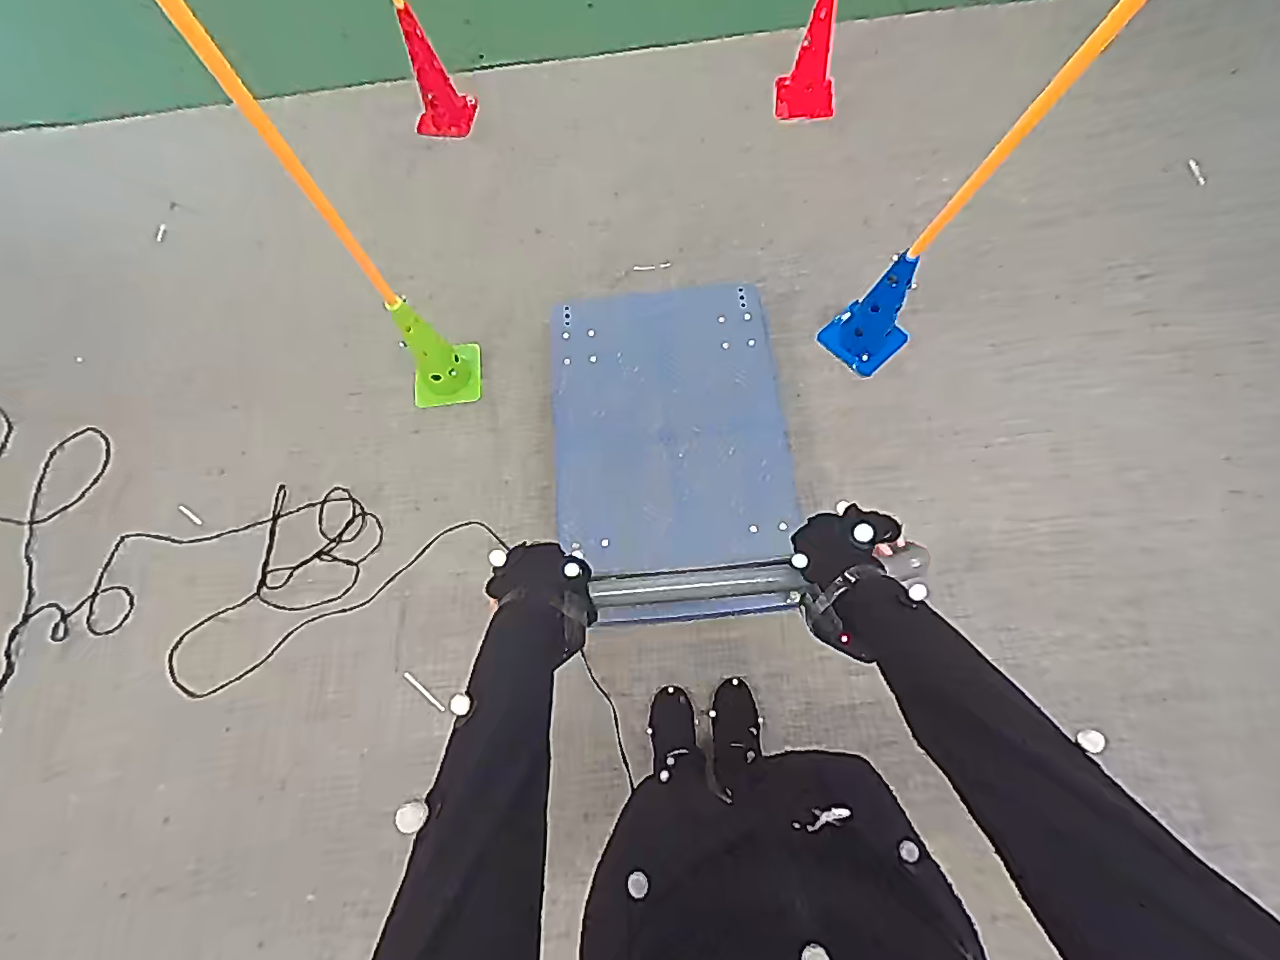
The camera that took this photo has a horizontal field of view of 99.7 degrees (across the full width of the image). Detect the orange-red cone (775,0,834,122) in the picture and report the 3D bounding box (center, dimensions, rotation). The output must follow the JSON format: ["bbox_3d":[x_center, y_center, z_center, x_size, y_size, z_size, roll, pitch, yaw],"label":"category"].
[{"bbox_3d":[0.569,-1.391,1.750,0.198,0.360,0.199,4,73,6],"label":"orange-red cone"}]
